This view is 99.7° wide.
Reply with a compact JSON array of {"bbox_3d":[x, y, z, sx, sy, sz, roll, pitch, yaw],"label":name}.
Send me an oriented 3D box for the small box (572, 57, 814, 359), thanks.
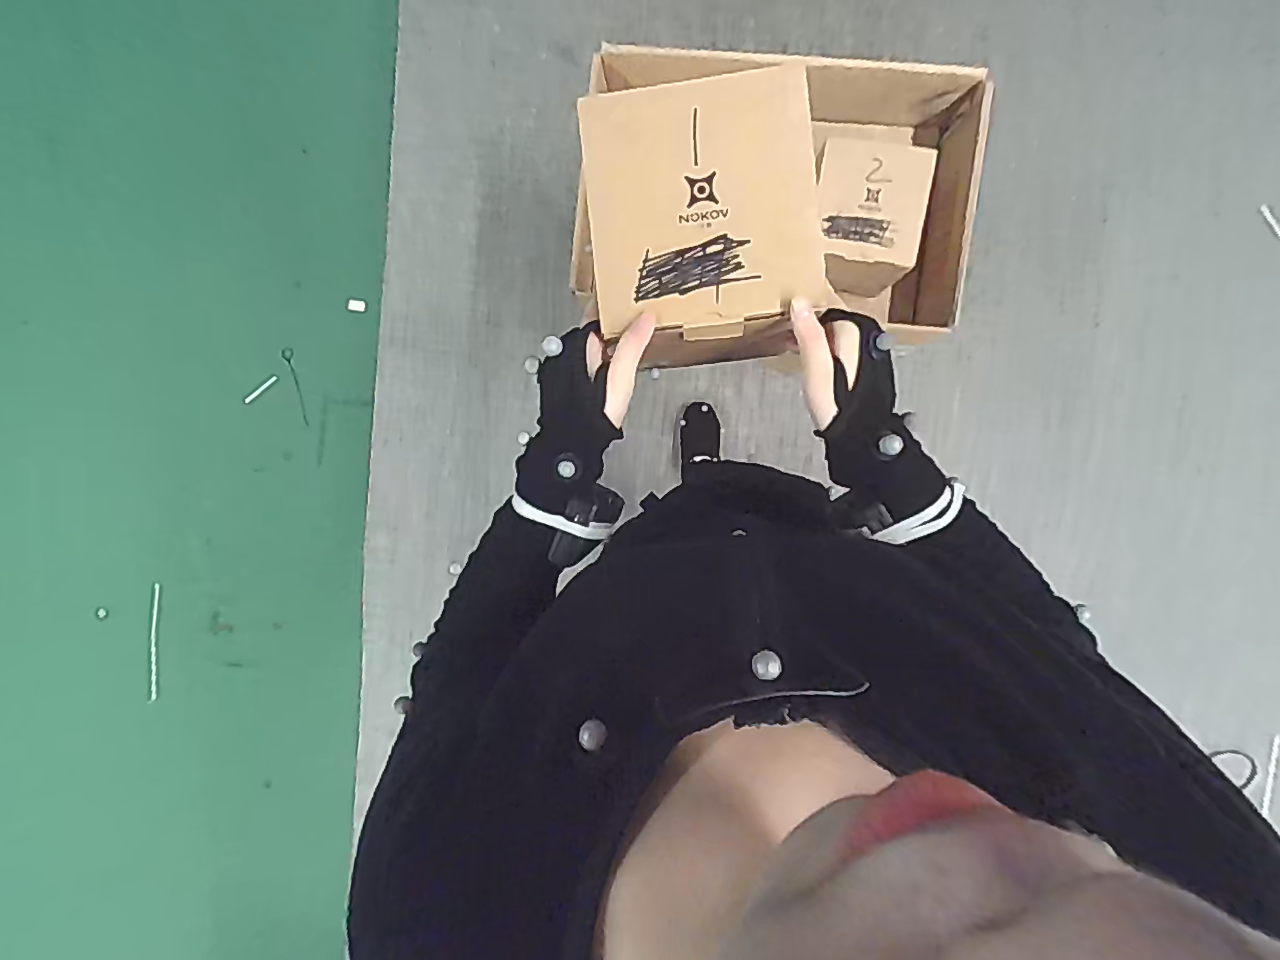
[{"bbox_3d":[0.045,-0.208,0.470,0.168,0.176,0.179,-5,90,5],"label":"small box"}]
